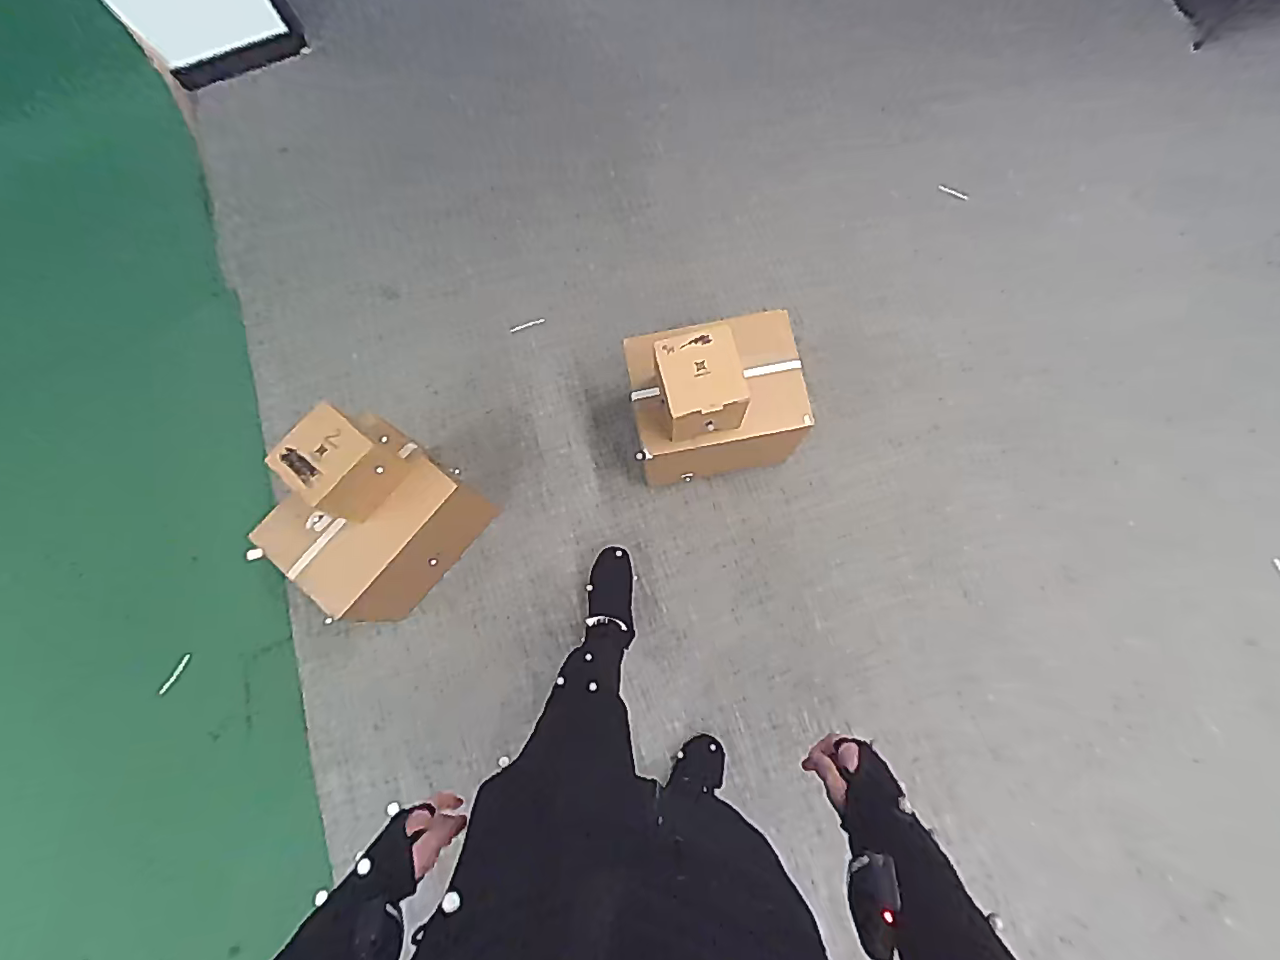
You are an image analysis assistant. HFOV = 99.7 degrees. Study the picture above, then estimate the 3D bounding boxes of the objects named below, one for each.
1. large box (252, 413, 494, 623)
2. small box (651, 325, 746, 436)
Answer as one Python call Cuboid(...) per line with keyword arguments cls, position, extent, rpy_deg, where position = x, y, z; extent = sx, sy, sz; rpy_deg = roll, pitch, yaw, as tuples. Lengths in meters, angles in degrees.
Cuboid(cls="large box", position=(-0.658, 0.109, 1.401), extent=(0.320, 0.320, 0.408), rpy_deg=(37, 82, 12))
Cuboid(cls="small box", position=(0.124, -0.206, 1.182), extent=(0.168, 0.176, 0.179), rpy_deg=(-13, 77, 0))
